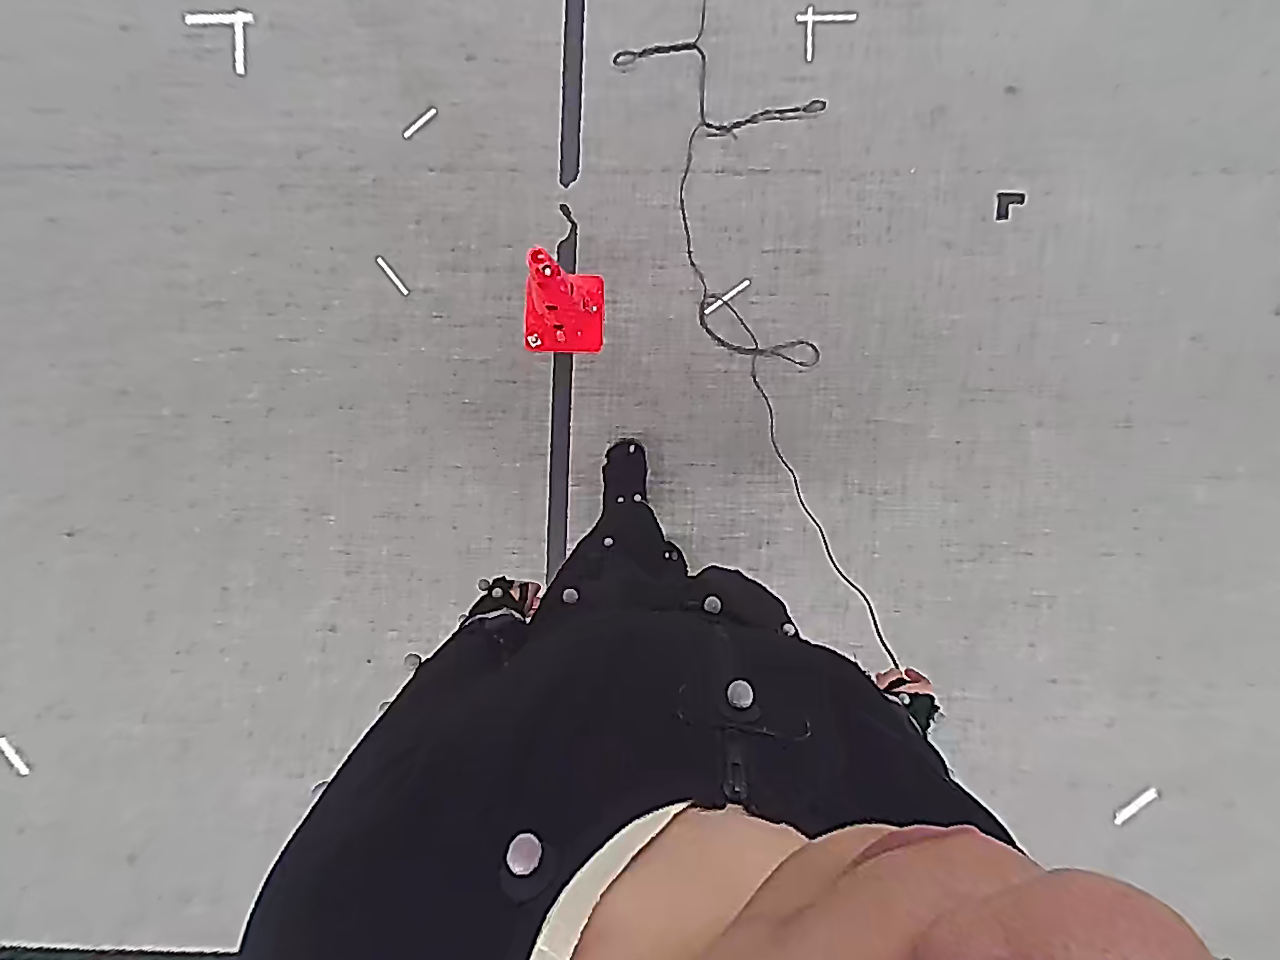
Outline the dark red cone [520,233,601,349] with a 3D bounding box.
[{"bbox_3d":[-0.193,-0.427,1.180,0.201,0.394,0.202,1,90,-1],"label":"dark red cone"}]
